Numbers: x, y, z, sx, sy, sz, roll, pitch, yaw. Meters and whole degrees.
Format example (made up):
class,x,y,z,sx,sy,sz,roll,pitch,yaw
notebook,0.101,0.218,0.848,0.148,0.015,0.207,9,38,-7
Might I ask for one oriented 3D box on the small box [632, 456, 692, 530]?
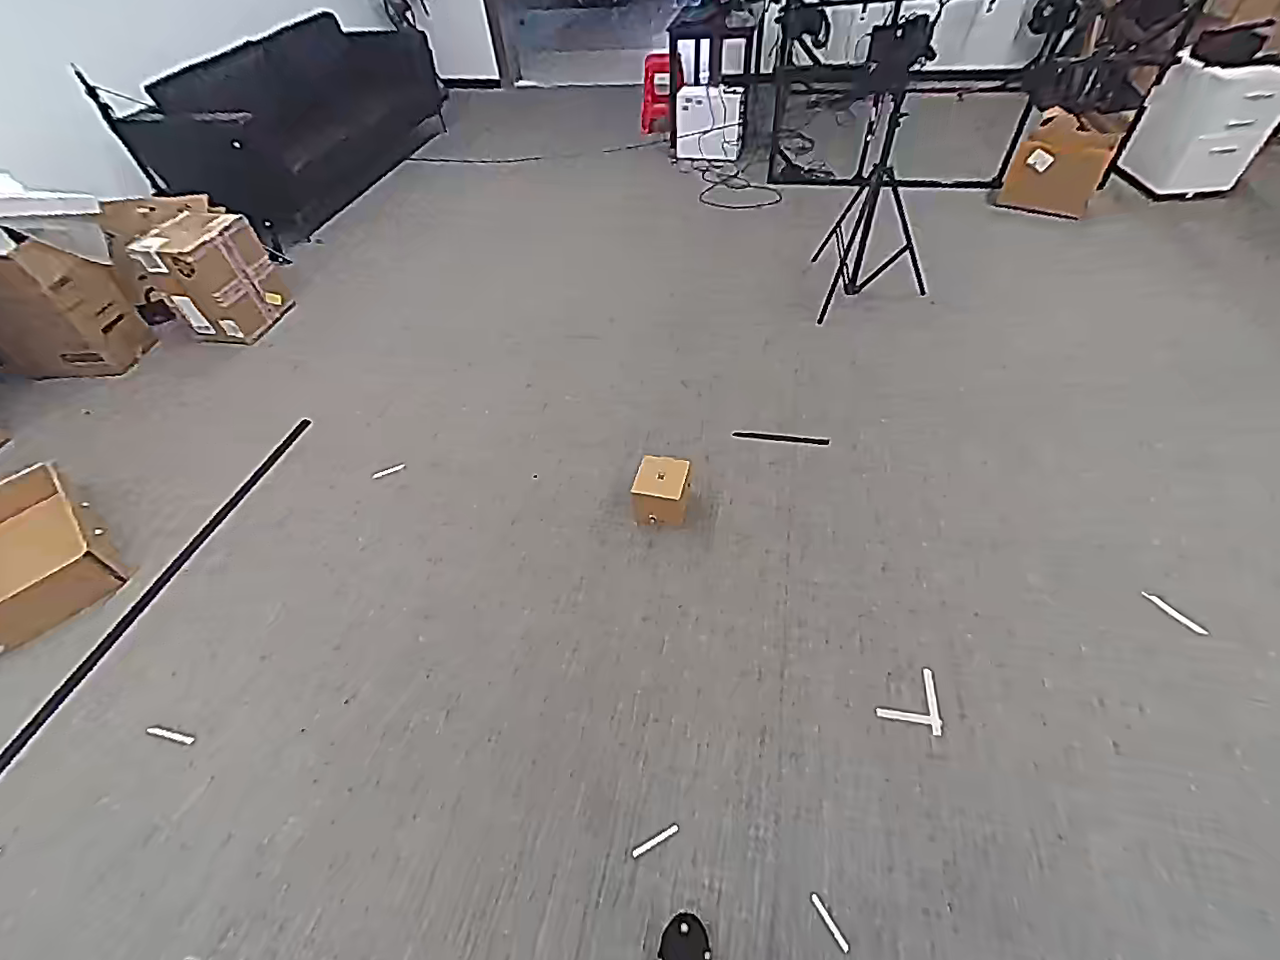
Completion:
class,x,y,z,sx,sy,sz,roll,pitch,yaw
small box,0.080,0.045,1.853,0.168,0.176,0.179,8,51,14
